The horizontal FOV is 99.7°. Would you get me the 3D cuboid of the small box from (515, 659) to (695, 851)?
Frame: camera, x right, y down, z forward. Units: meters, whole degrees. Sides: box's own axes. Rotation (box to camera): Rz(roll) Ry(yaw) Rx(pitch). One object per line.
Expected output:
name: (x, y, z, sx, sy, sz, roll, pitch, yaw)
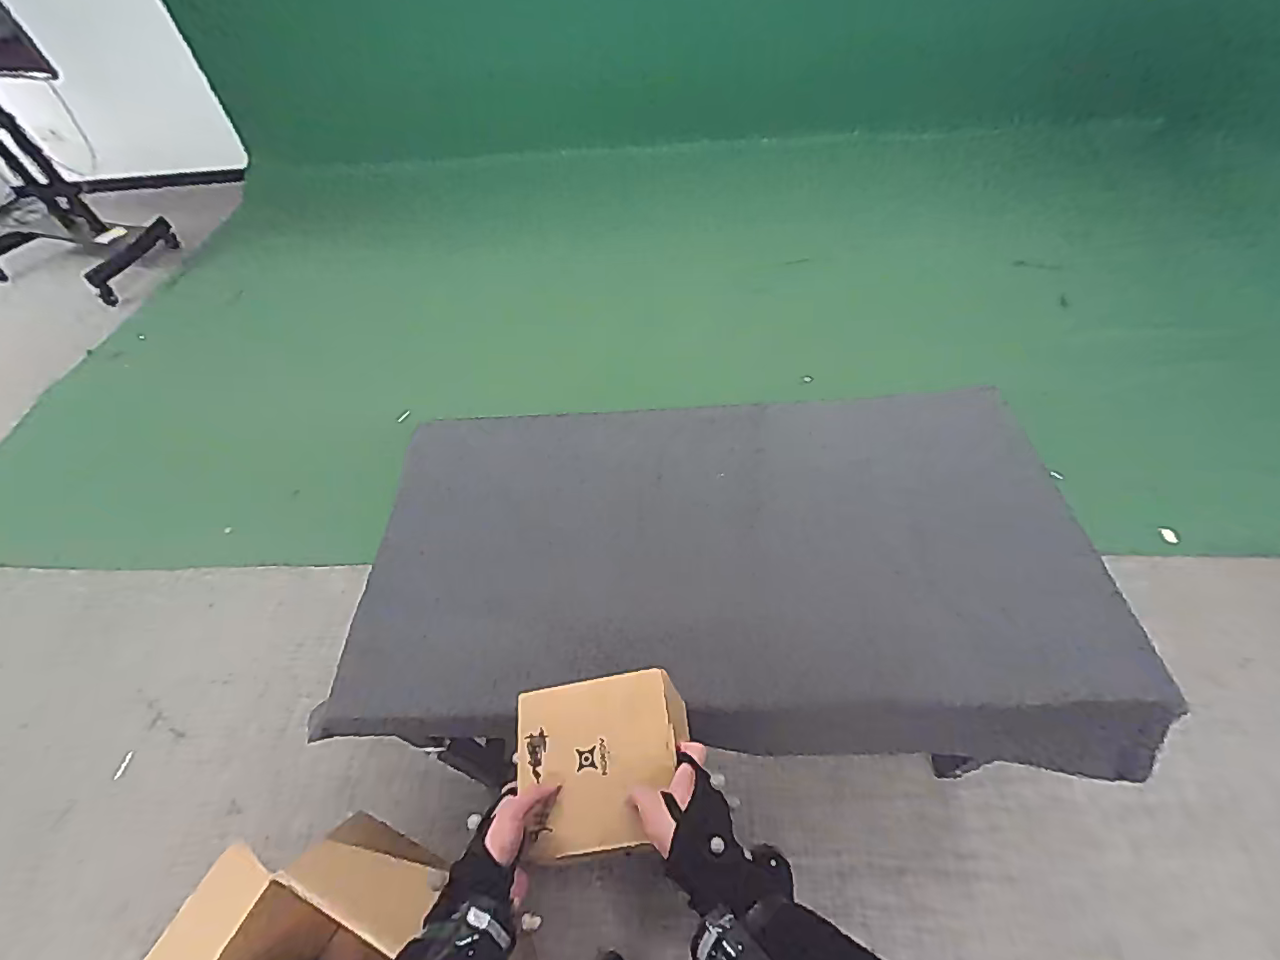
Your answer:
small box: (-0.034, 0.327, 0.638, 0.179, 0.176, 0.168, -12, 54, 5)
